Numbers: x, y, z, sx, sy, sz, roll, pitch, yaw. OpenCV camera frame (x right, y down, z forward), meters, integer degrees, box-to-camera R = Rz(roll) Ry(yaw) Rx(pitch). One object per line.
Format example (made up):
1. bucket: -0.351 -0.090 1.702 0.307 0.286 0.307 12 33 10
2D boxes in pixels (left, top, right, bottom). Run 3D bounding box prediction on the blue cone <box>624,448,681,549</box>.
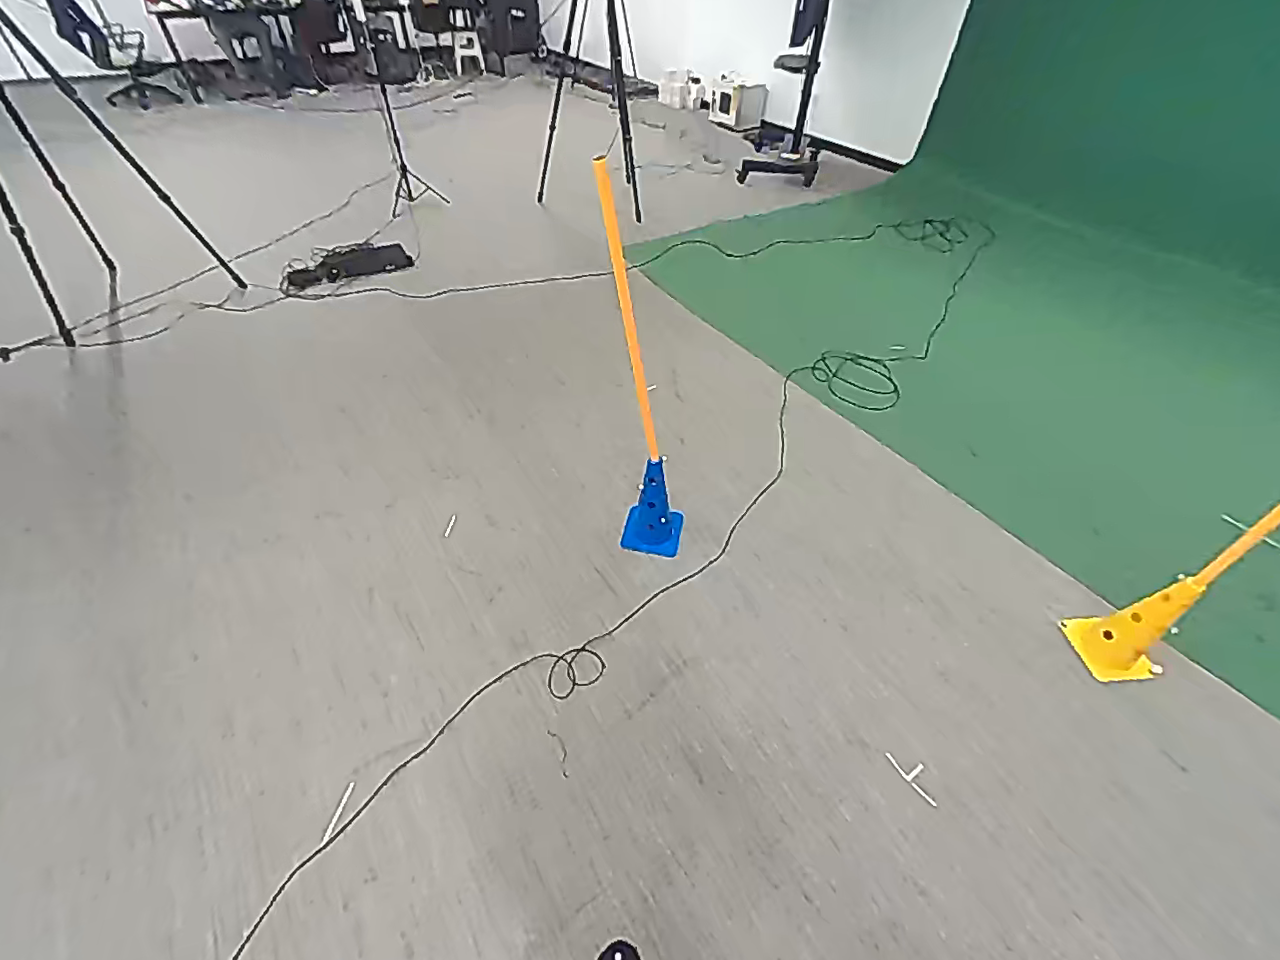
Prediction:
1. blue cone: 0.044 0.048 1.772 0.193 0.380 0.192 7 47 8
